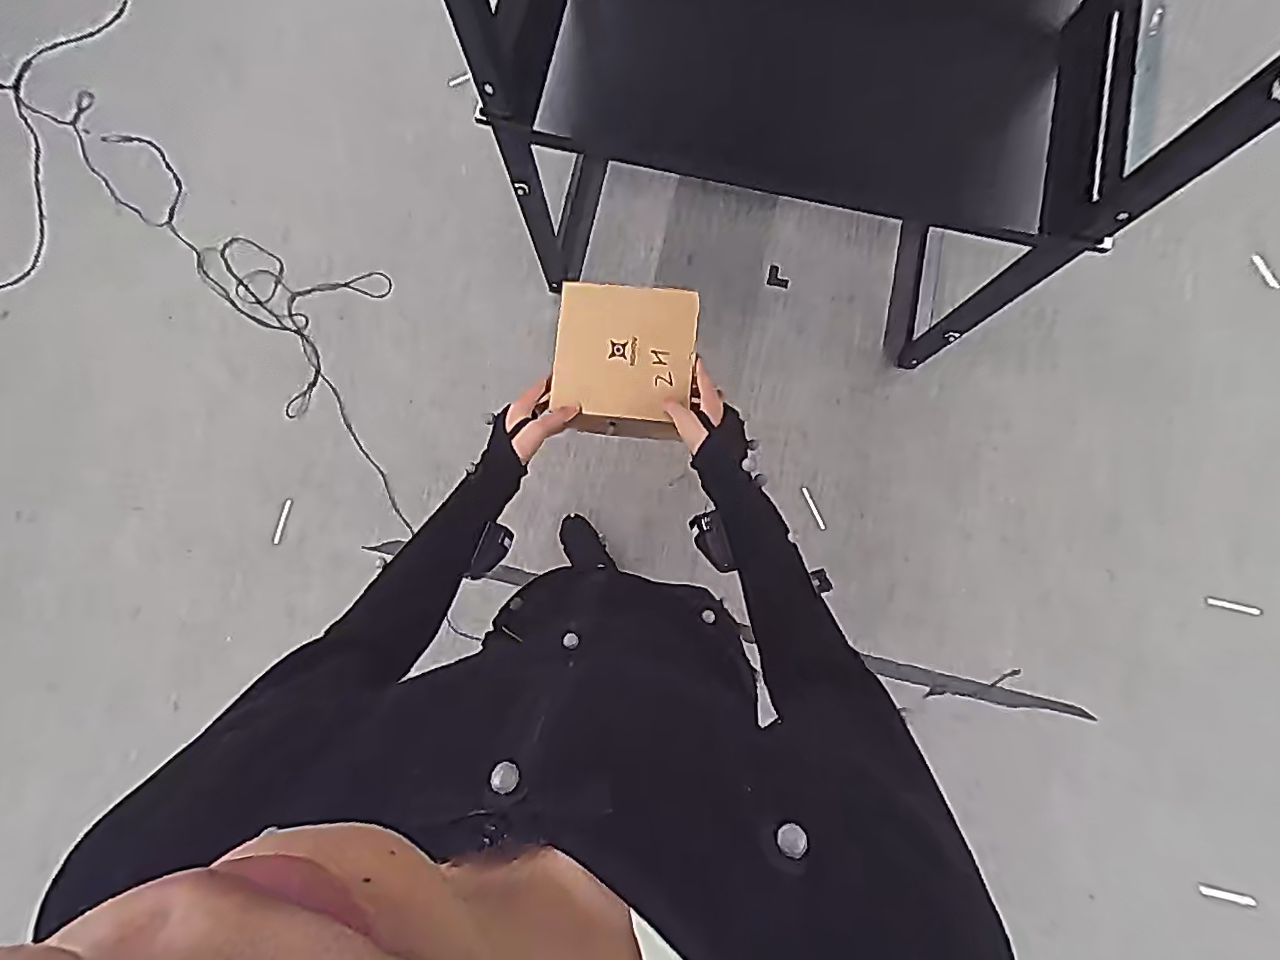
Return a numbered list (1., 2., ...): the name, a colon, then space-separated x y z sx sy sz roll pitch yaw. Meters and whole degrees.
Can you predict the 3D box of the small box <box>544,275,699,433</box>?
1. small box: -0.019 -0.160 0.738 0.179 0.176 0.168 6 88 3
